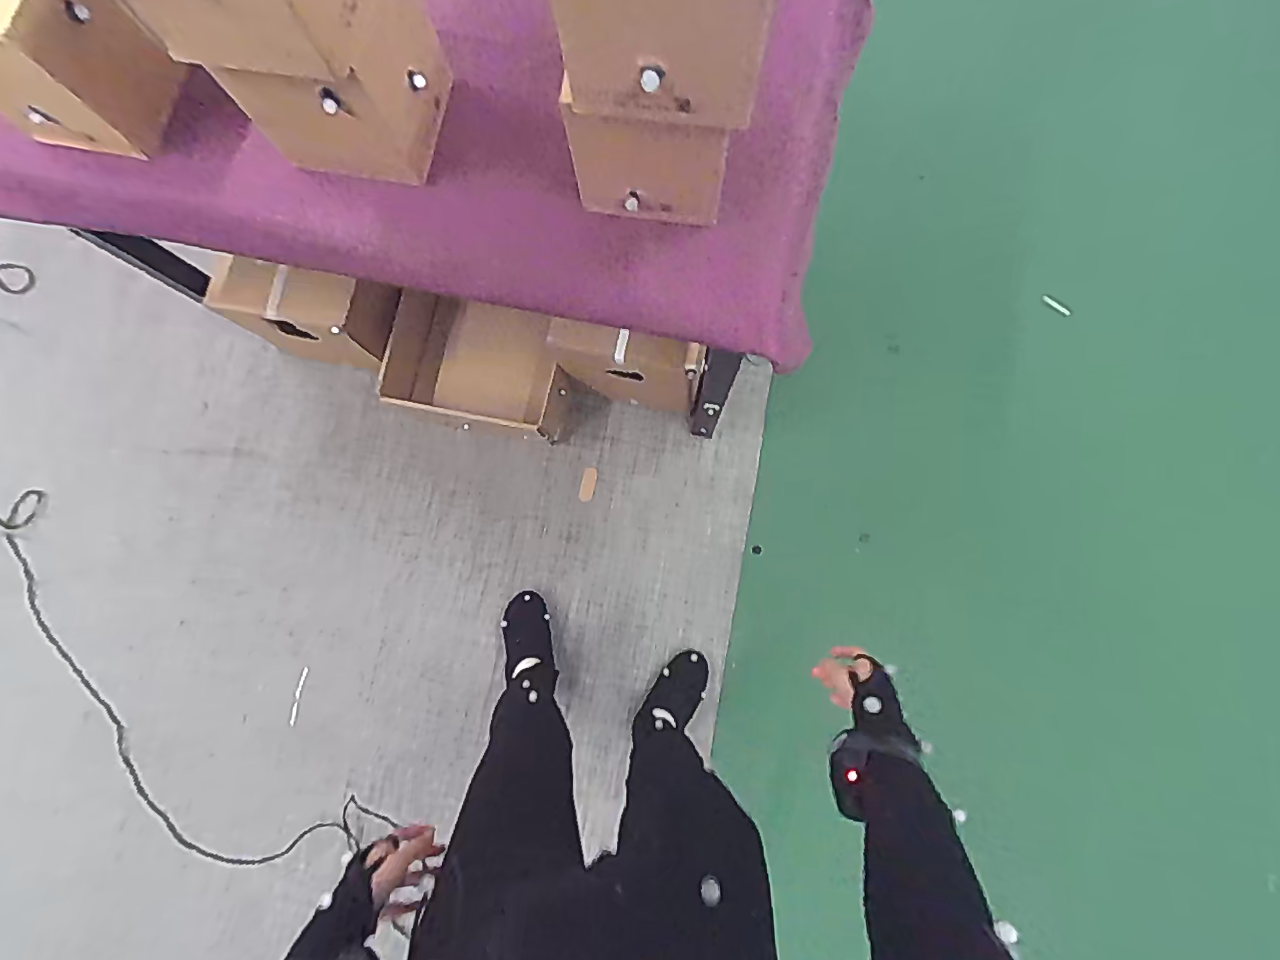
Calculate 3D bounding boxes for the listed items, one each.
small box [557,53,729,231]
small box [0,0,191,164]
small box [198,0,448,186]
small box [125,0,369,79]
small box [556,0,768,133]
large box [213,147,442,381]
[{"bbox_3d":[0.017,-0.412,0.599,0.168,0.176,0.179,8,80,5],"label":"small box"},{"bbox_3d":[-0.692,-0.522,0.640,0.168,0.176,0.179,11,81,3],"label":"small box"},{"bbox_3d":[-0.344,-0.471,0.619,0.179,0.176,0.168,10,80,4],"label":"small box"},{"bbox_3d":[-0.357,-0.482,0.455,0.179,0.176,0.168,9,81,4],"label":"small box"},{"bbox_3d":[0.025,-0.427,0.434,0.168,0.176,0.179,8,81,5],"label":"small box"},{"bbox_3d":[-0.718,-0.497,1.308,0.320,0.320,0.408,11,83,3],"label":"large box"}]
